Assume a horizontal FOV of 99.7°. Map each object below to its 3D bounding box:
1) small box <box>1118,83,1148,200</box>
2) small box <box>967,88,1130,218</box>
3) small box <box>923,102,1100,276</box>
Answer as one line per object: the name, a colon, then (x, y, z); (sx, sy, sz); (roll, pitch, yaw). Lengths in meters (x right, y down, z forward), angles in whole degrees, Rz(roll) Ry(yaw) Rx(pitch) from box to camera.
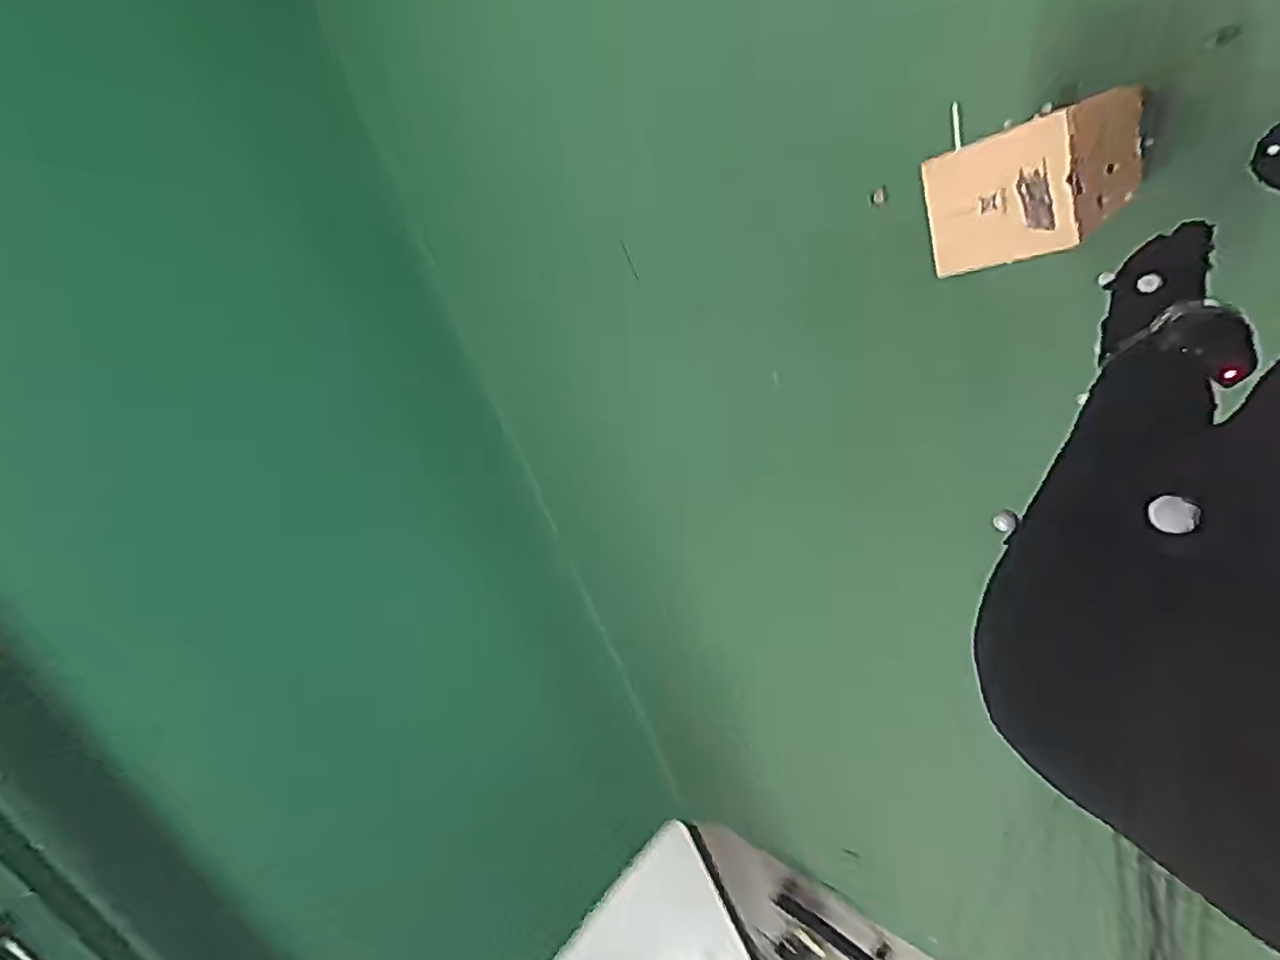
small box: (0.778, -0.576, 0.969); (0.179, 0.176, 0.168); (0, 119, 49)
small box: (0.663, -0.503, 0.879); (0.179, 0.176, 0.168); (3, 121, 50)
small box: (0.548, -0.423, 0.791); (0.179, 0.176, 0.168); (3, 120, 50)
